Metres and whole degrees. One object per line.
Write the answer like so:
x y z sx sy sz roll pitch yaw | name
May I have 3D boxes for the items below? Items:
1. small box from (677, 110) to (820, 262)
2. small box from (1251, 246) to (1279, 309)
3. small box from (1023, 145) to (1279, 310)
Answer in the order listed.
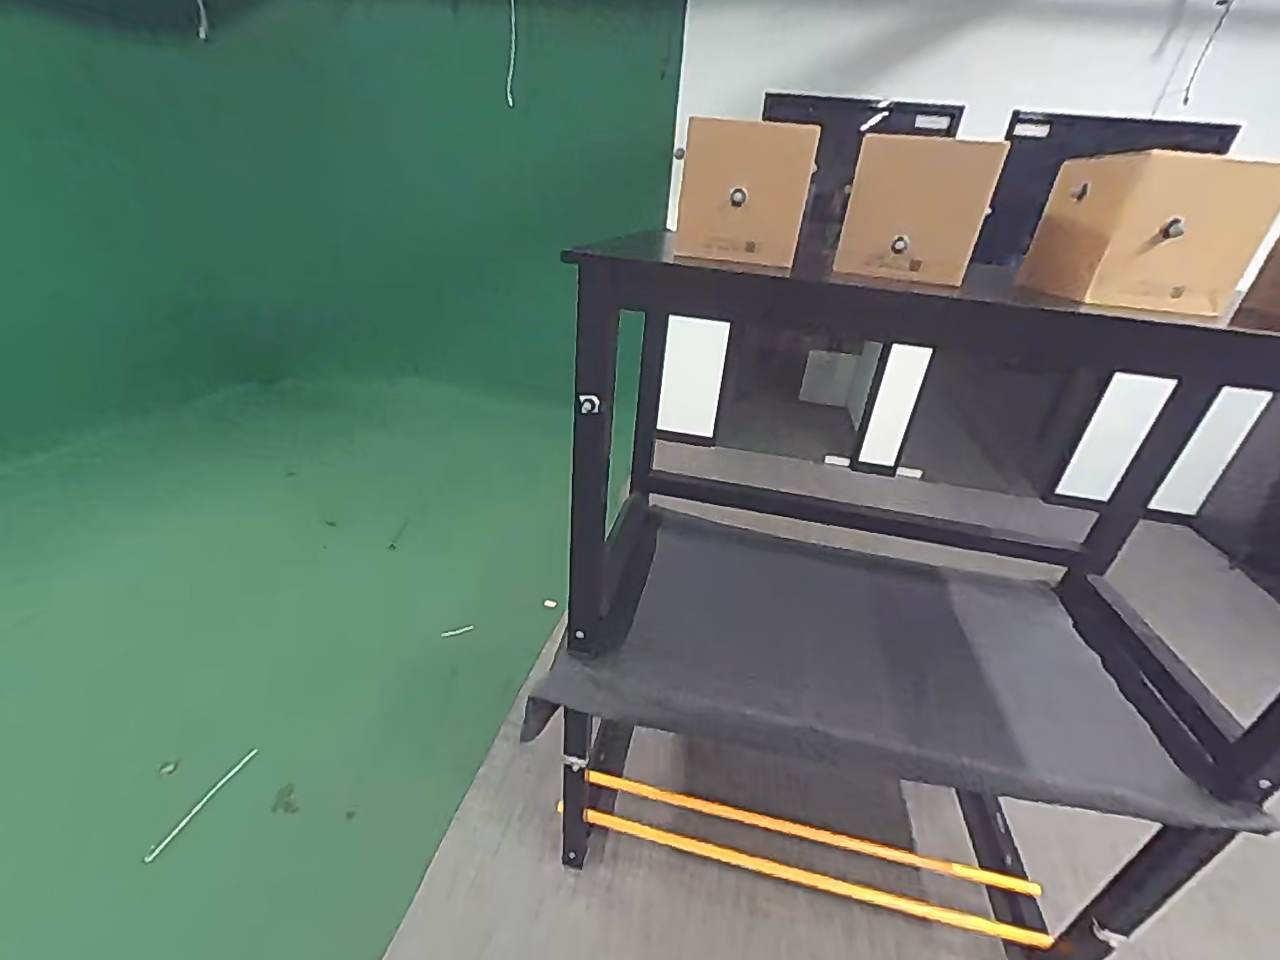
0.148 -0.418 0.781 0.168 0.176 0.179 9 28 5 | small box
0.935 -0.280 0.660 0.168 0.176 0.179 12 30 13 | small box
0.647 -0.324 0.699 0.168 0.176 0.179 8 28 4 | small box
